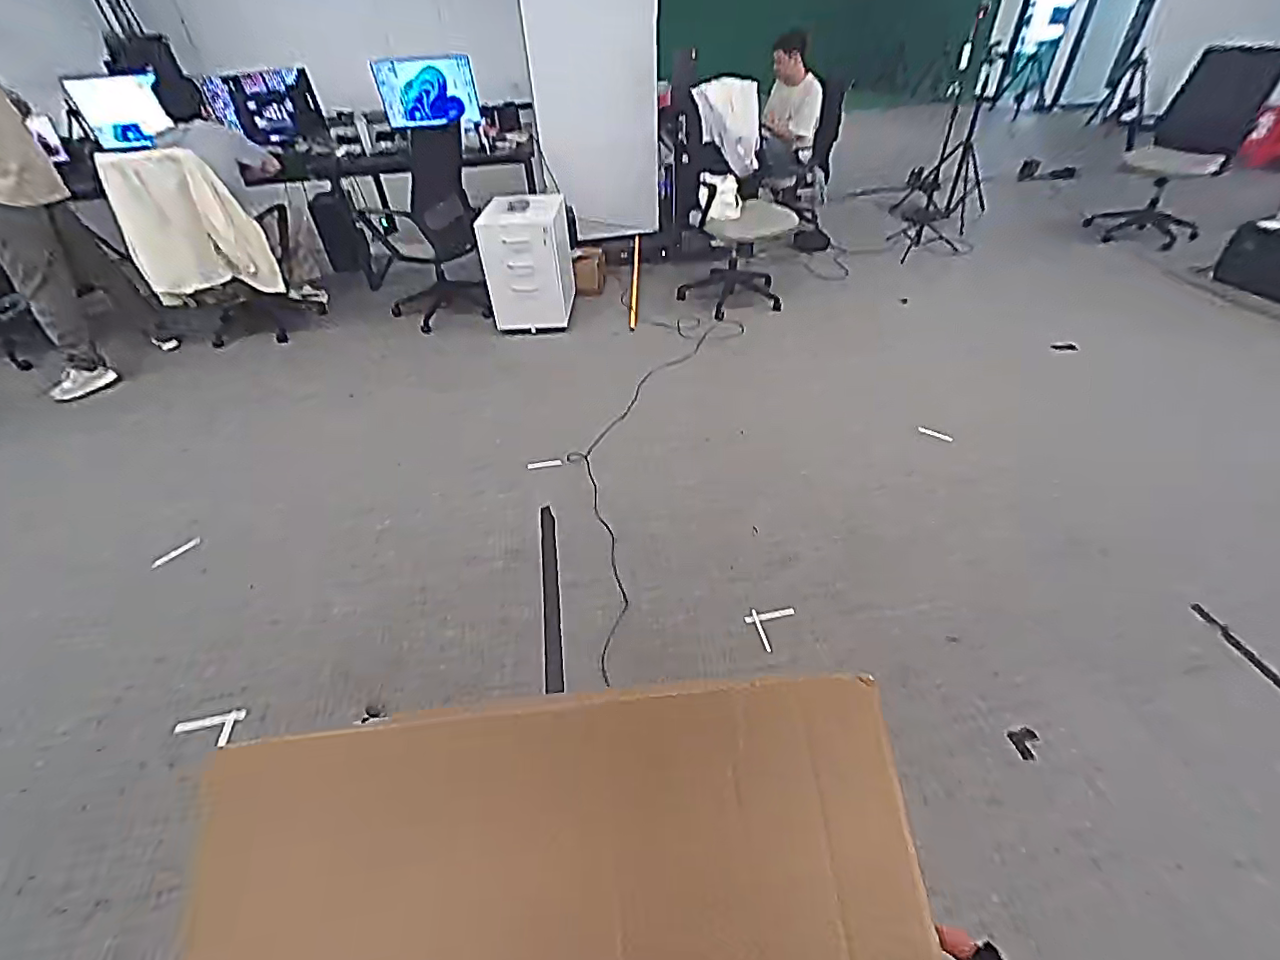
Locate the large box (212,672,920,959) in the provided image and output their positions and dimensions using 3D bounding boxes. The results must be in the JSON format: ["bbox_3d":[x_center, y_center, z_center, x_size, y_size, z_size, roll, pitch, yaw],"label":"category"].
[{"bbox_3d":[-0.039,0.339,0.432,0.408,0.320,0.320,-6,71,0],"label":"large box"}]
